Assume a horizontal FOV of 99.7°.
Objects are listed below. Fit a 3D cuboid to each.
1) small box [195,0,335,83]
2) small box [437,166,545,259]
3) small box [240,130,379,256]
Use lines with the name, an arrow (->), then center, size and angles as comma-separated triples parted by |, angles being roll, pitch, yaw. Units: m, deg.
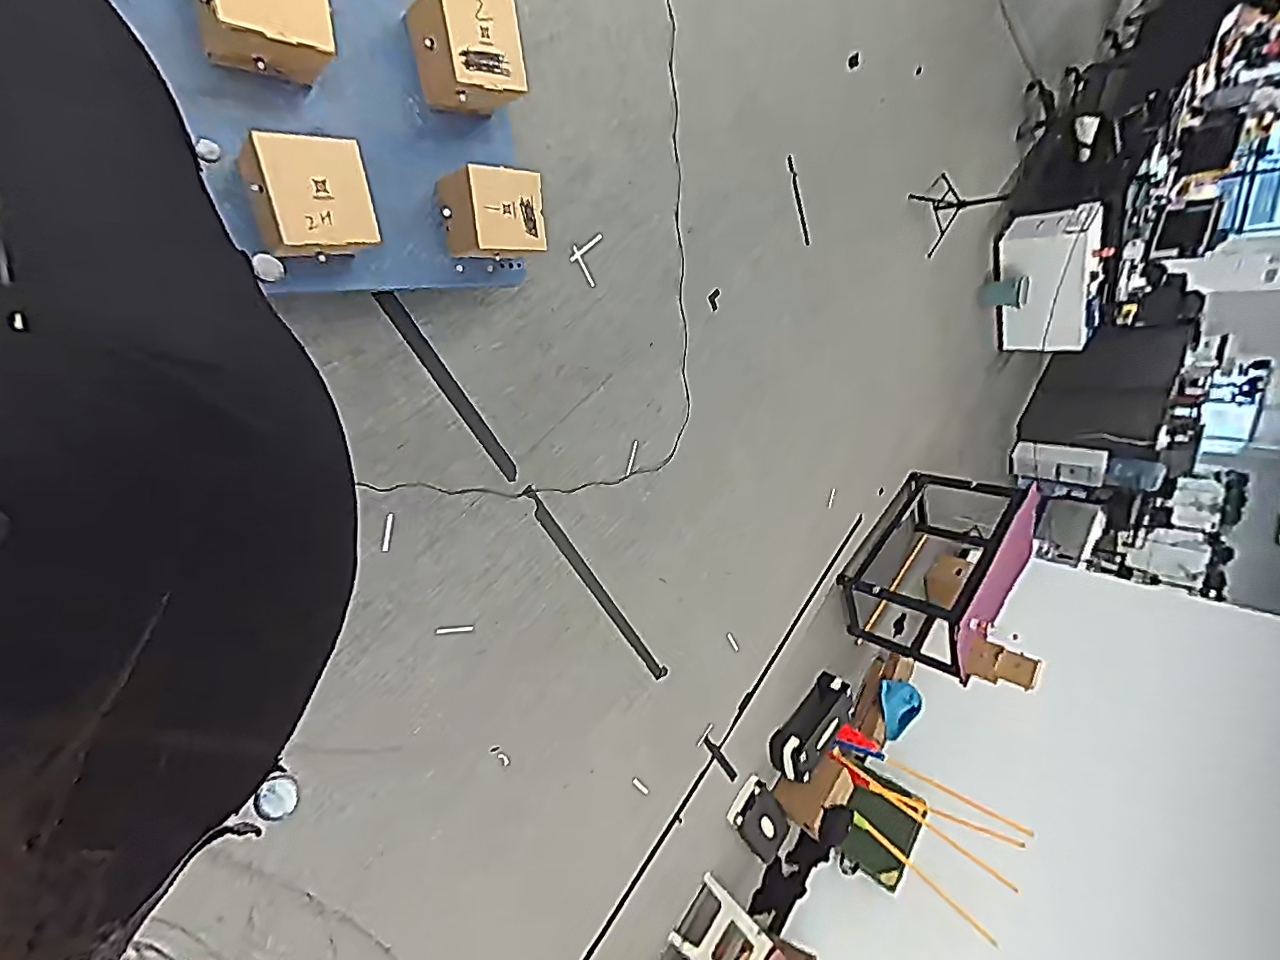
small box -> -0.644, -0.817, 0.915 | 0.168, 0.176, 0.179 | -16, 113, -41
small box -> -0.345, -0.610, 1.253 | 0.179, 0.176, 0.168 | -18, 112, -38
small box -> -0.620, -0.524, 1.013 | 0.168, 0.176, 0.179 | -22, 115, -38
